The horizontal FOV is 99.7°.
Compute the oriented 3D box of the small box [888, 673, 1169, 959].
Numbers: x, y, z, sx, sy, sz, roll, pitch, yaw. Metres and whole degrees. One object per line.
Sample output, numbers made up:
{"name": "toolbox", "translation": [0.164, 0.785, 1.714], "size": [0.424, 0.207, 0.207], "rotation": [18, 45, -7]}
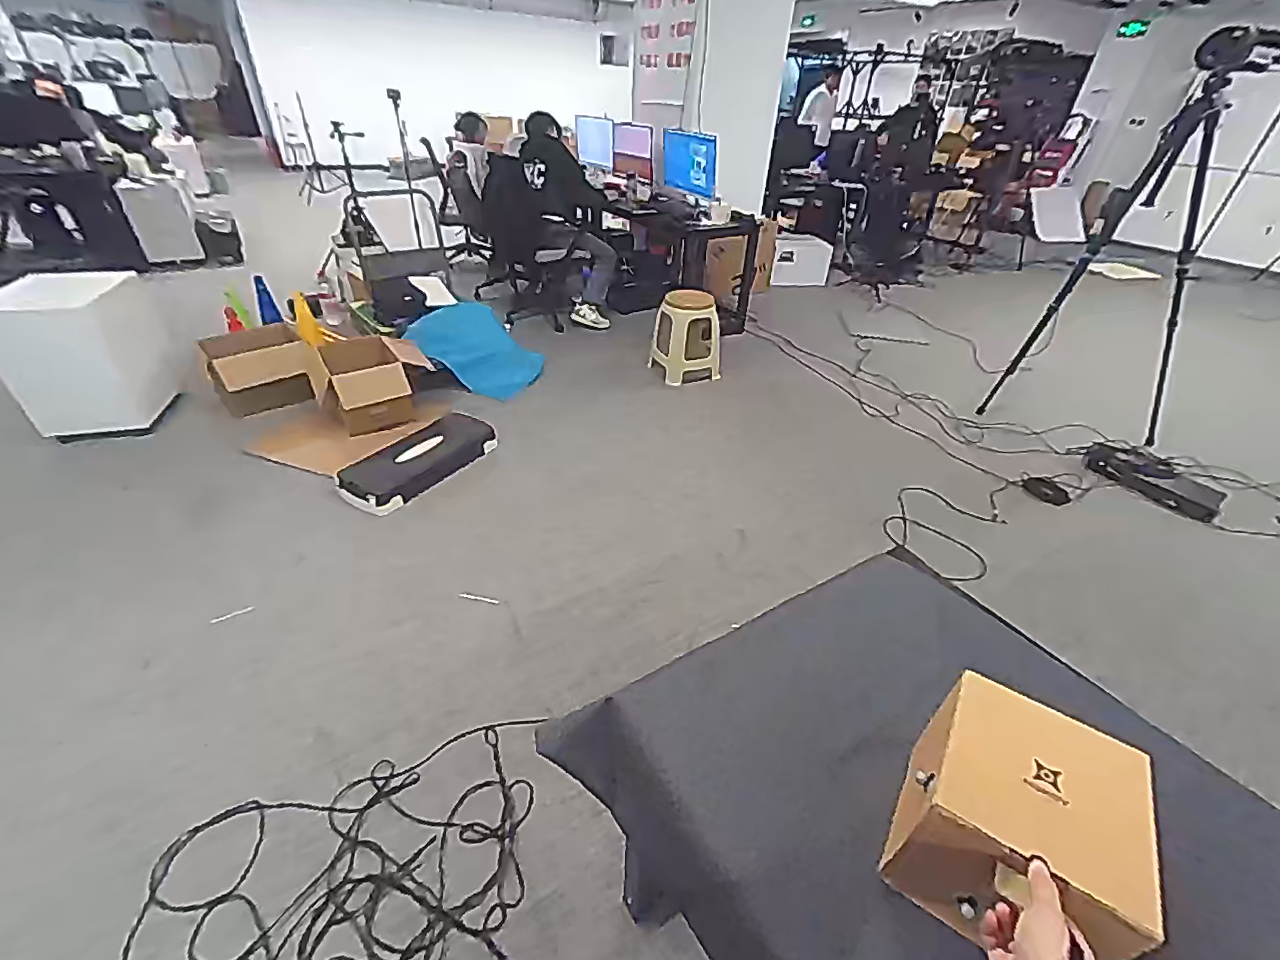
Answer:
{"name": "small box", "translation": [0.371, 0.342, 0.541], "size": [0.168, 0.176, 0.179], "rotation": [24, 41, 26]}
